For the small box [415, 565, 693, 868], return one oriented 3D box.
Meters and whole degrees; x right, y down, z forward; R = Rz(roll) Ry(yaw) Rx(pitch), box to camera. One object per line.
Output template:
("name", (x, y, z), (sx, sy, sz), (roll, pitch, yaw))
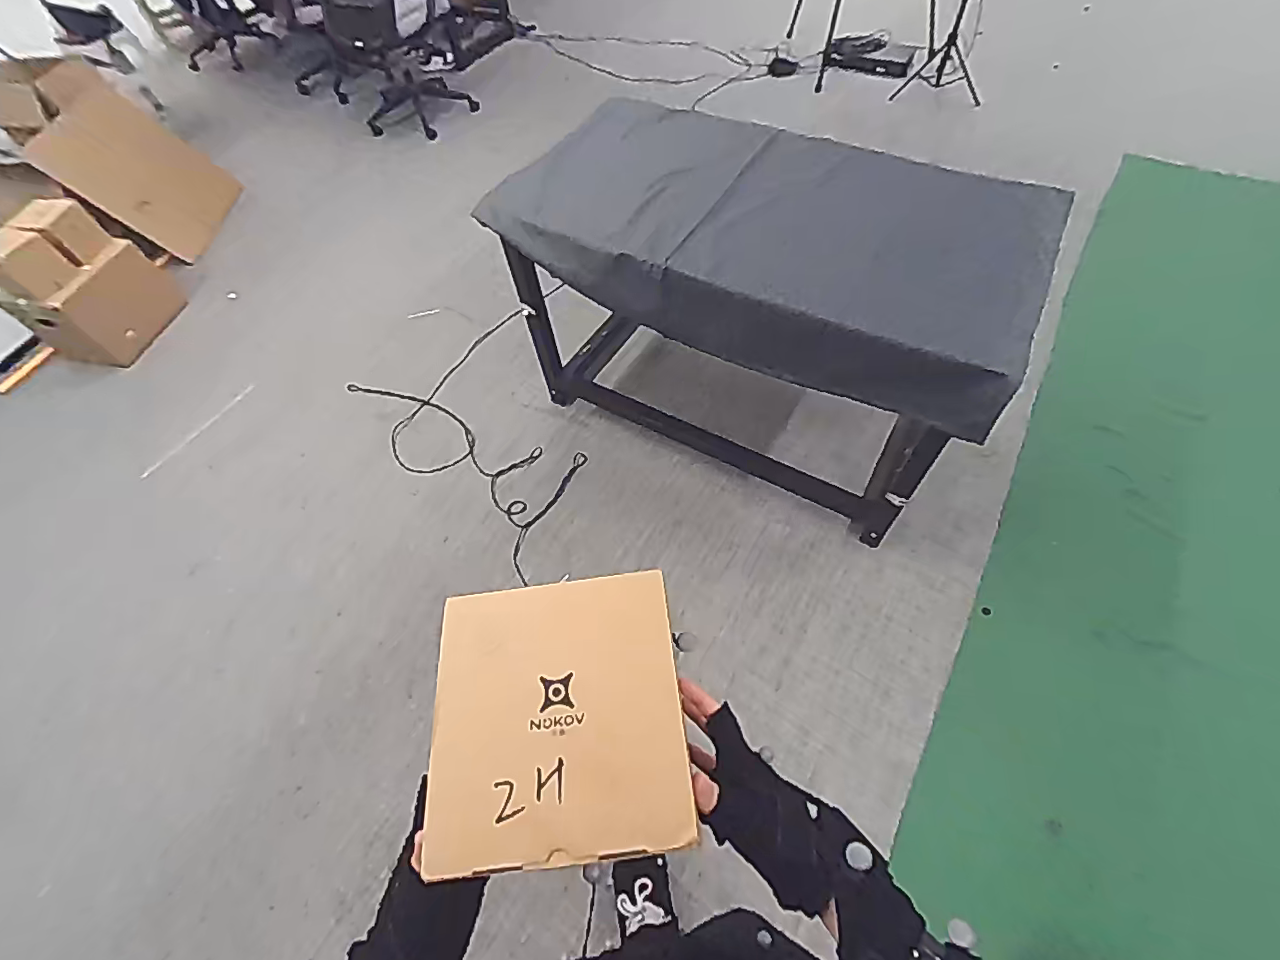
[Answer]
("small box", (-0.051, 0.187, 0.425), (0.168, 0.176, 0.179), (-8, 58, 2))
